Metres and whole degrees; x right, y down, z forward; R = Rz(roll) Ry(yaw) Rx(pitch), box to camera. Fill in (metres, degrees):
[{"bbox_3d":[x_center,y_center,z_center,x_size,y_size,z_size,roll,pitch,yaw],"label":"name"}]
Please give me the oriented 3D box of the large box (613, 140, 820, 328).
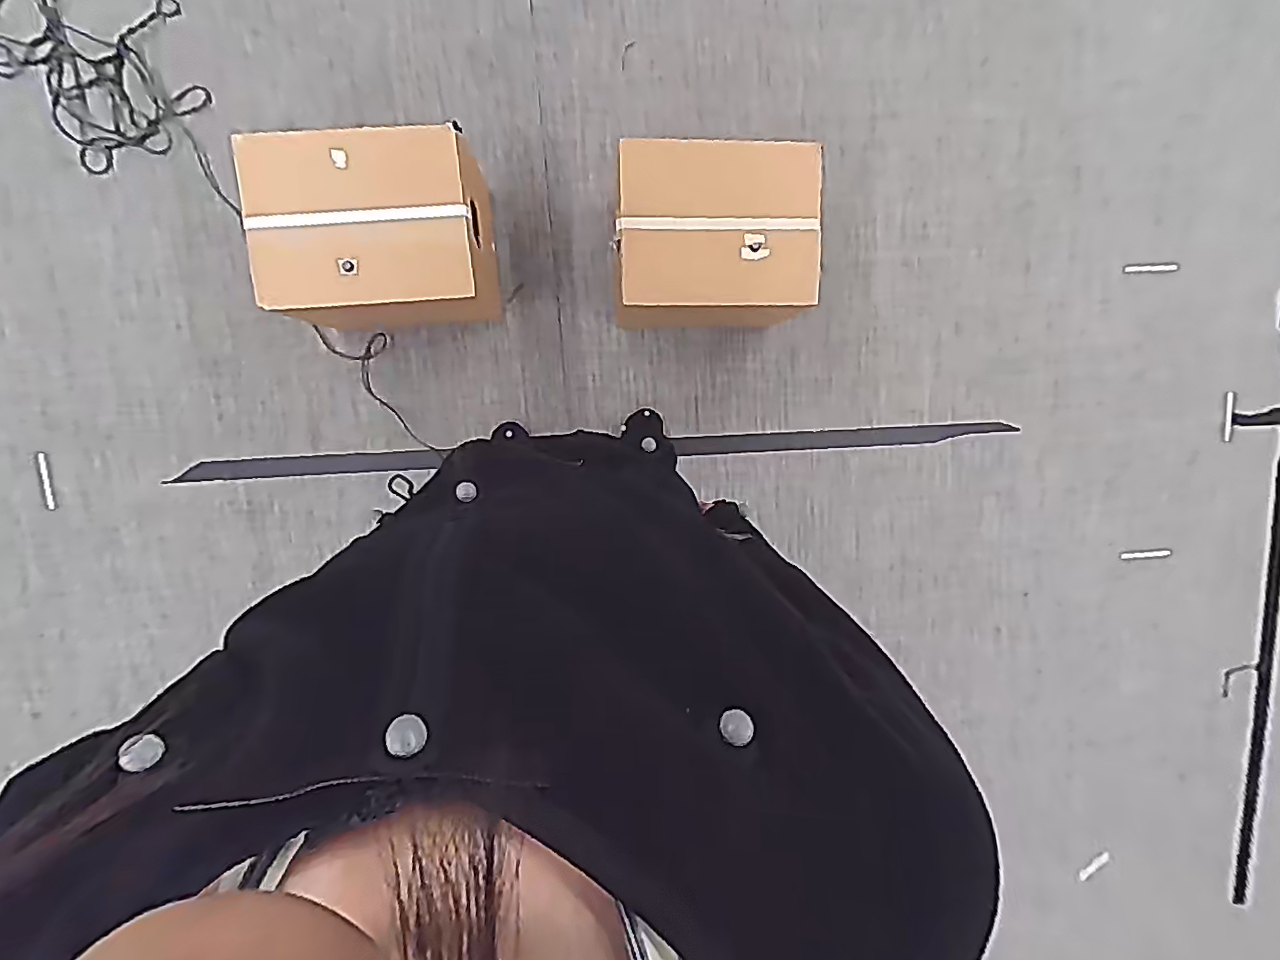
[{"bbox_3d":[0.150,-0.530,1.228,0.408,0.320,0.320,-1,98,-5],"label":"large box"}]
